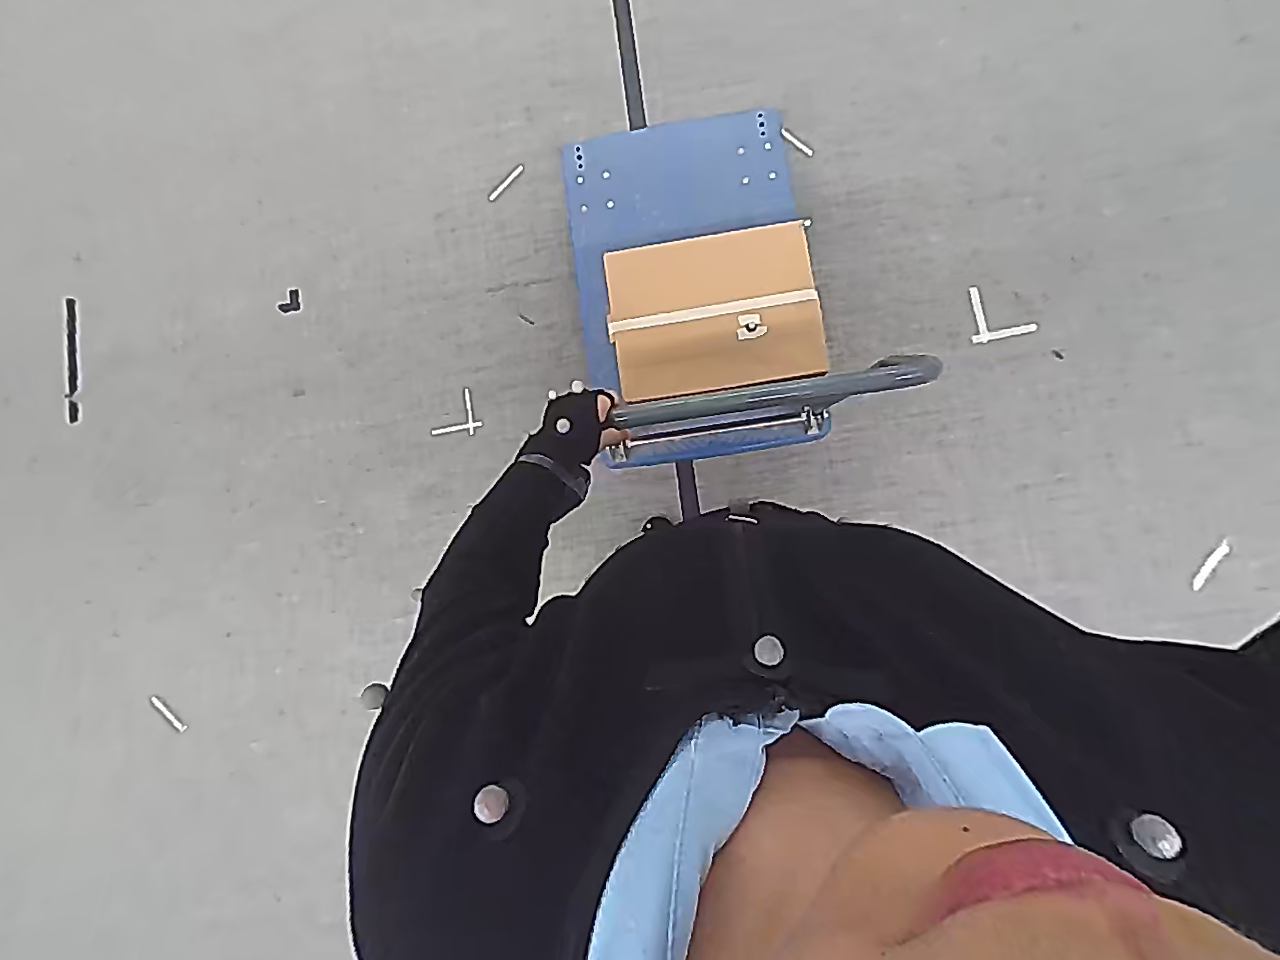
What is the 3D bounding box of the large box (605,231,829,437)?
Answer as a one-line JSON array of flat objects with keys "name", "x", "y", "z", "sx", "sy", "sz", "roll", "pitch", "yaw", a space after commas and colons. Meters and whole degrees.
[{"name": "large box", "x": 0.154, "y": -0.298, "z": 1.204, "sx": 0.408, "sy": 0.320, "sz": 0.320, "roll": -8, "pitch": 86, "yaw": 3}]
